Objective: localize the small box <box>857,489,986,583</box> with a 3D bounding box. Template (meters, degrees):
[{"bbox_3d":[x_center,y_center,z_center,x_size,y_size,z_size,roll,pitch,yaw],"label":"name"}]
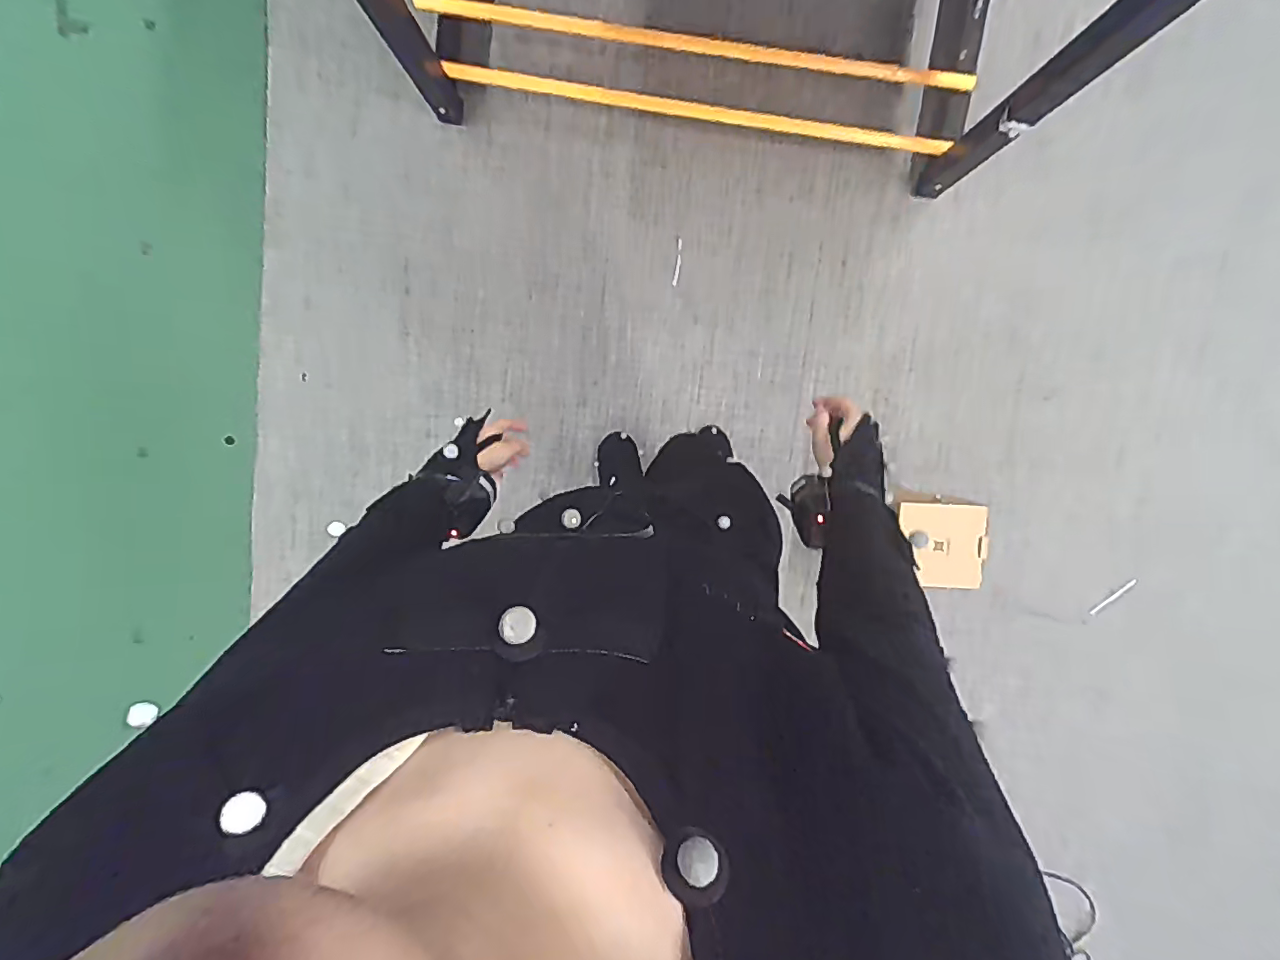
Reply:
[{"bbox_3d":[0.577,0.110,1.129,0.179,0.176,0.168,2,96,0],"label":"small box"}]

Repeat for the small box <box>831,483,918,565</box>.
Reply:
[{"bbox_3d":[0.570,0.101,1.293,0.168,0.176,0.179,2,96,0],"label":"small box"}]
